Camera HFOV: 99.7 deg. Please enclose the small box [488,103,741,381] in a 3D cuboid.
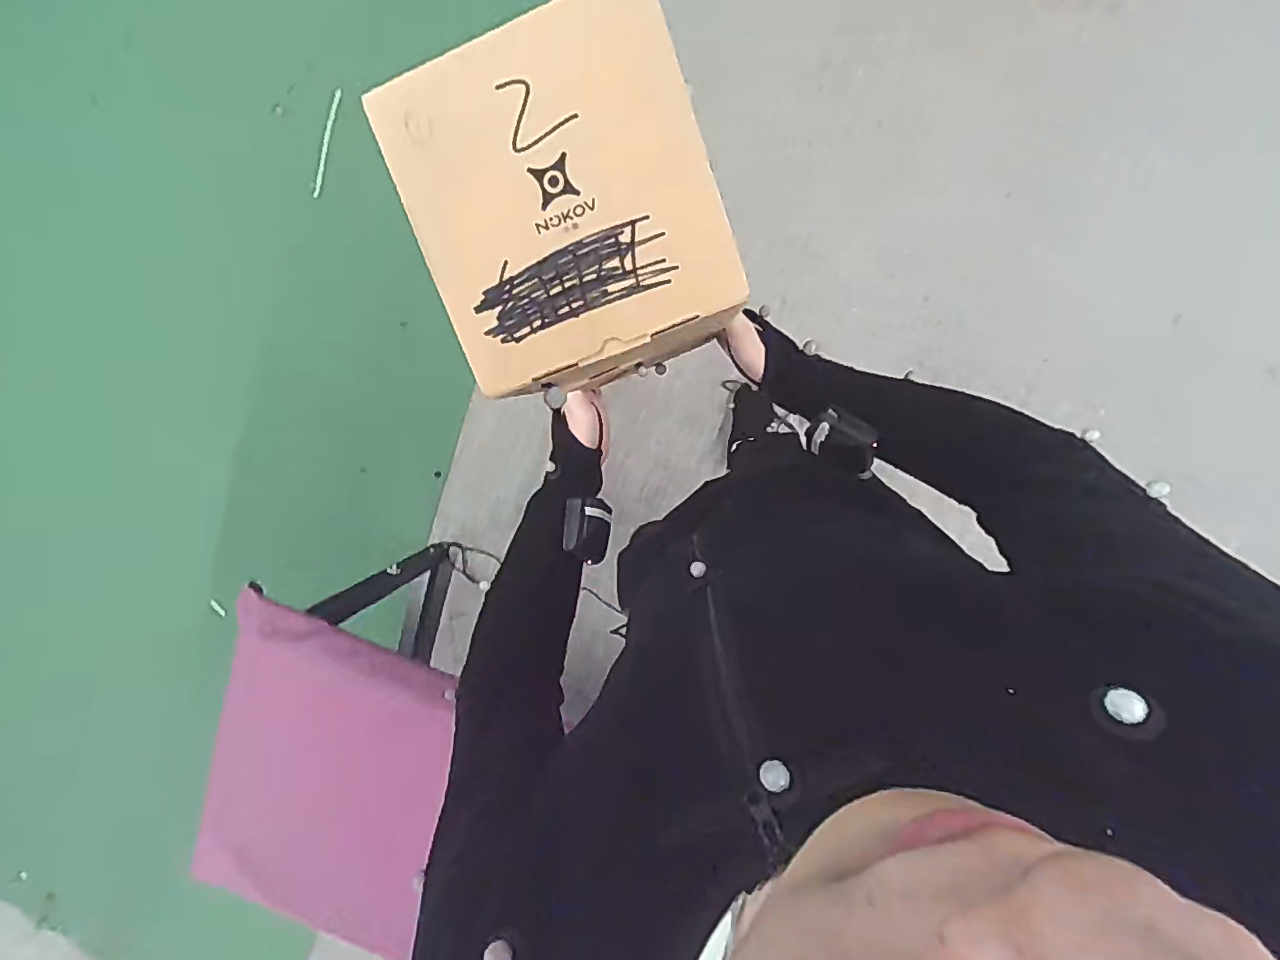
[{"bbox_3d":[-0.016,-0.207,0.527,0.168,0.176,0.179,-22,100,9],"label":"small box"}]
